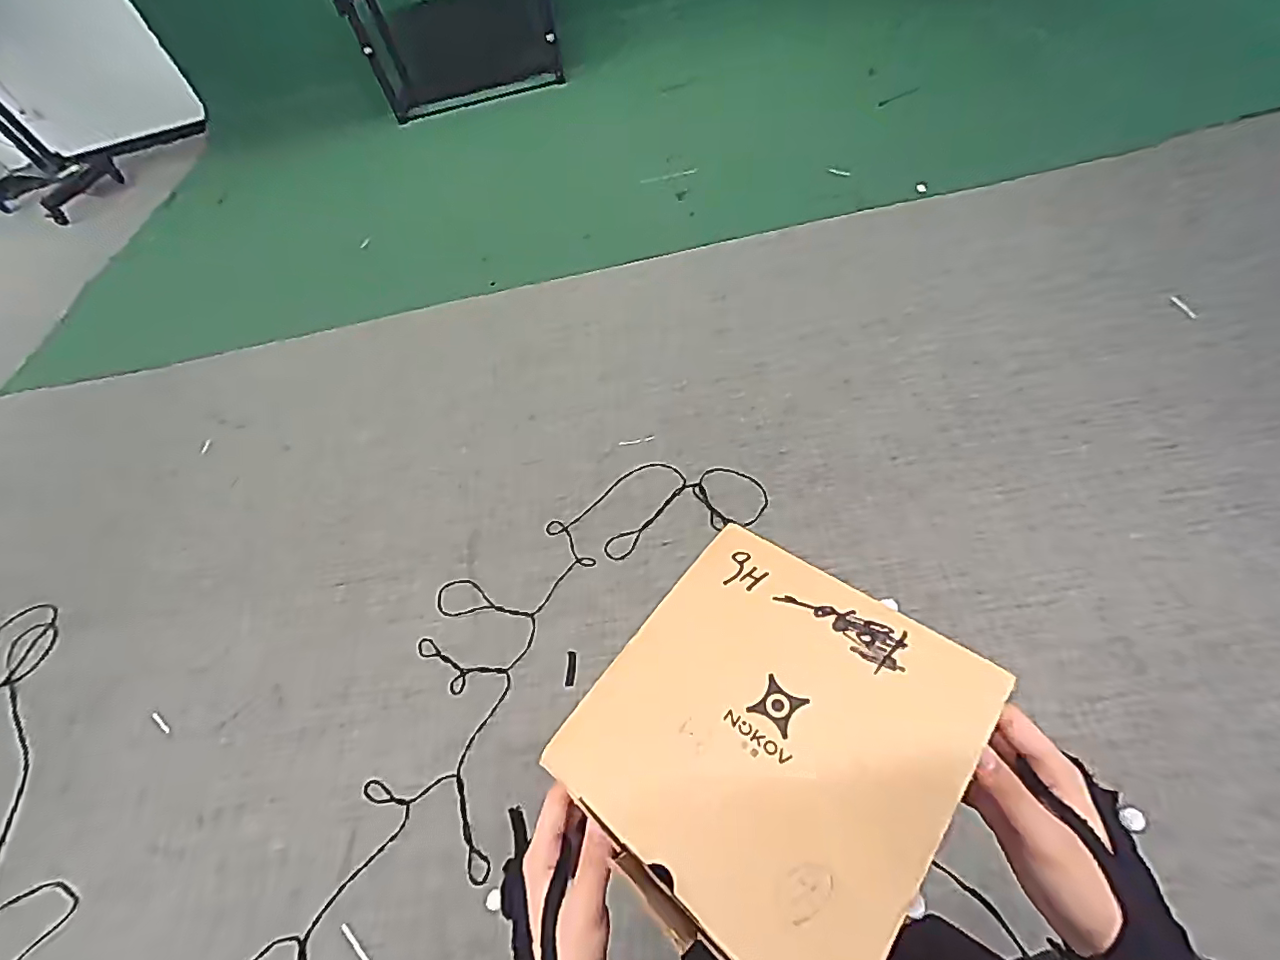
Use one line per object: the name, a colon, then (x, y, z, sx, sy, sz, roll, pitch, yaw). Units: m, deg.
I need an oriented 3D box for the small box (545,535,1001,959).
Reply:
small box: (0.080, 0.174, 0.333, 0.168, 0.176, 0.179, 29, 65, 32)
